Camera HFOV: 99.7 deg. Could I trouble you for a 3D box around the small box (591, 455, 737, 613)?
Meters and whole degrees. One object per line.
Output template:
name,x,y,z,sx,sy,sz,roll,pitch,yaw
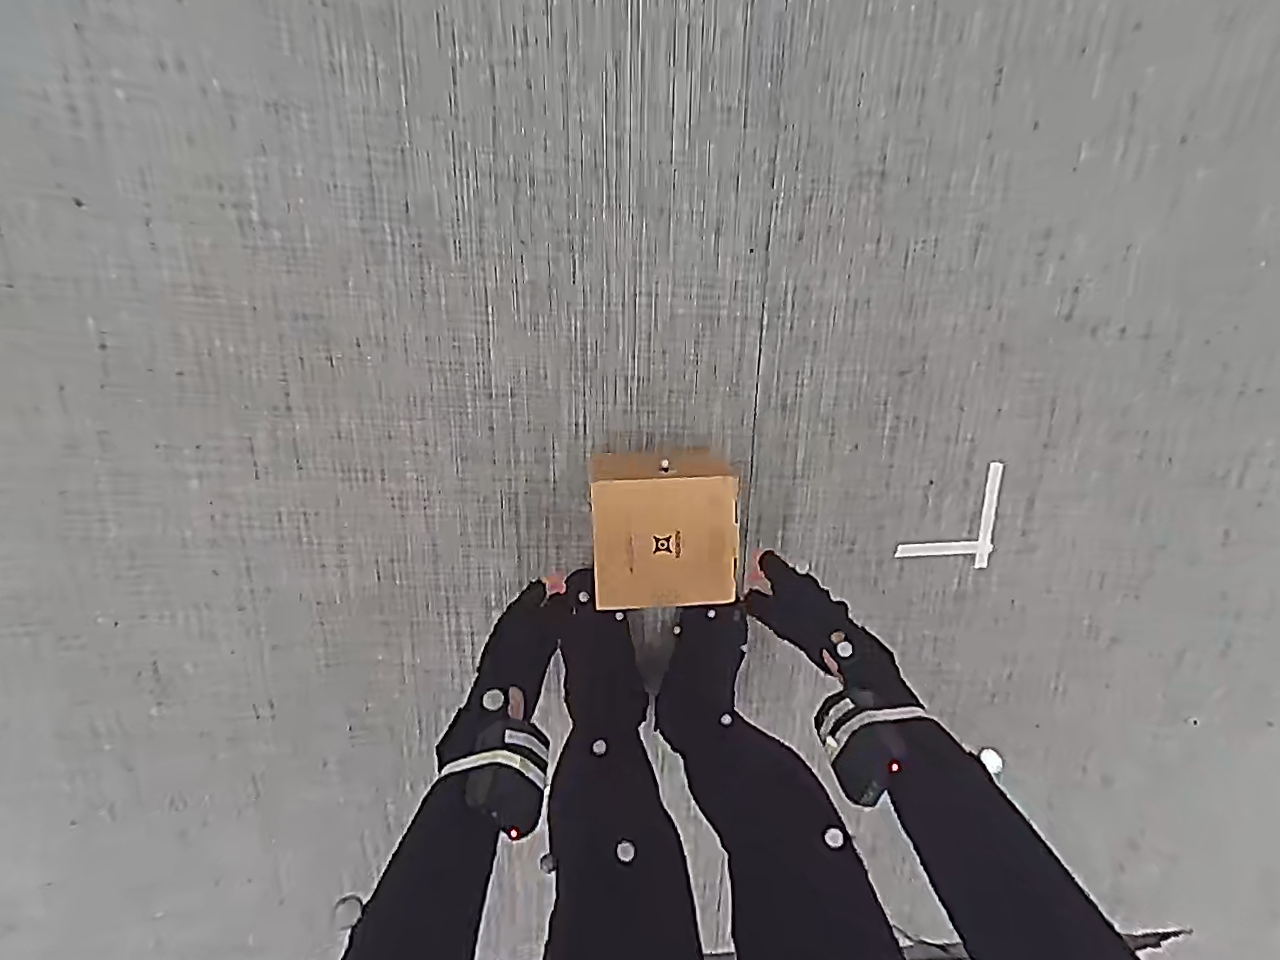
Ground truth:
small box,0.024,0.062,0.728,0.179,0.176,0.168,-2,103,-3
